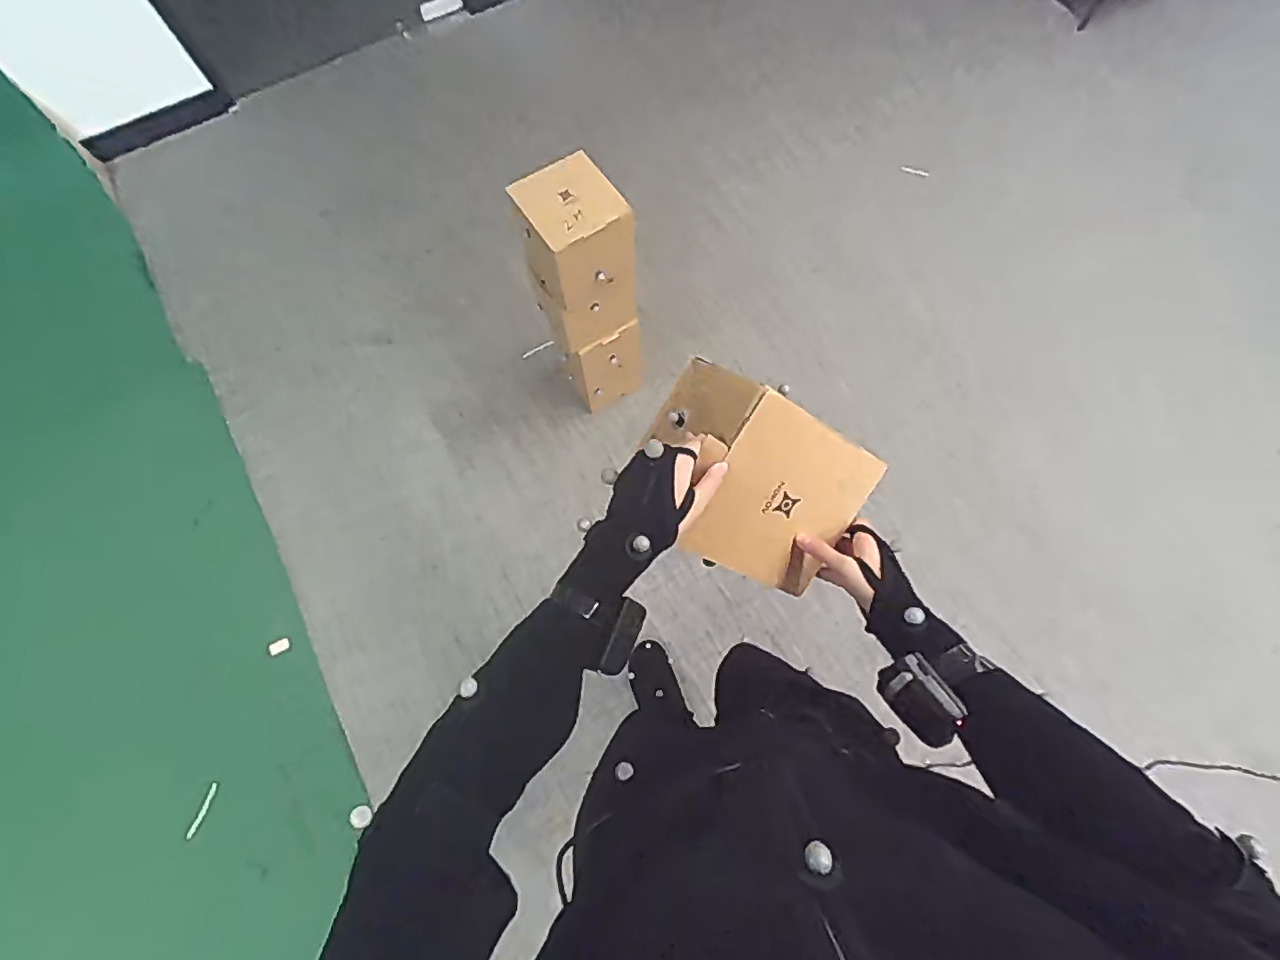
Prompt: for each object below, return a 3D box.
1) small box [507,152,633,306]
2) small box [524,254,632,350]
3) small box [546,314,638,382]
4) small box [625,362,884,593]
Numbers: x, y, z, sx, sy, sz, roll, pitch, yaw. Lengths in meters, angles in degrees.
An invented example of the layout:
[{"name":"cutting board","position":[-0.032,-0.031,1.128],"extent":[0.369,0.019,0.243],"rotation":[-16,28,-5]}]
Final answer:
[{"name":"small box","position":[-0.127,-0.473,1.037],"extent":[0.168,0.176,0.179],"rotation":[-32,74,-9]},{"name":"small box","position":[-0.127,-0.421,1.194],"extent":[0.179,0.176,0.168],"rotation":[-31,74,-10]},{"name":"small box","position":[-0.115,-0.368,1.349],"extent":[0.168,0.176,0.179],"rotation":[-32,75,-10]},{"name":"small box","position":[0.110,-0.011,0.584],"extent":[0.179,0.176,0.168],"rotation":[25,102,-24]}]
